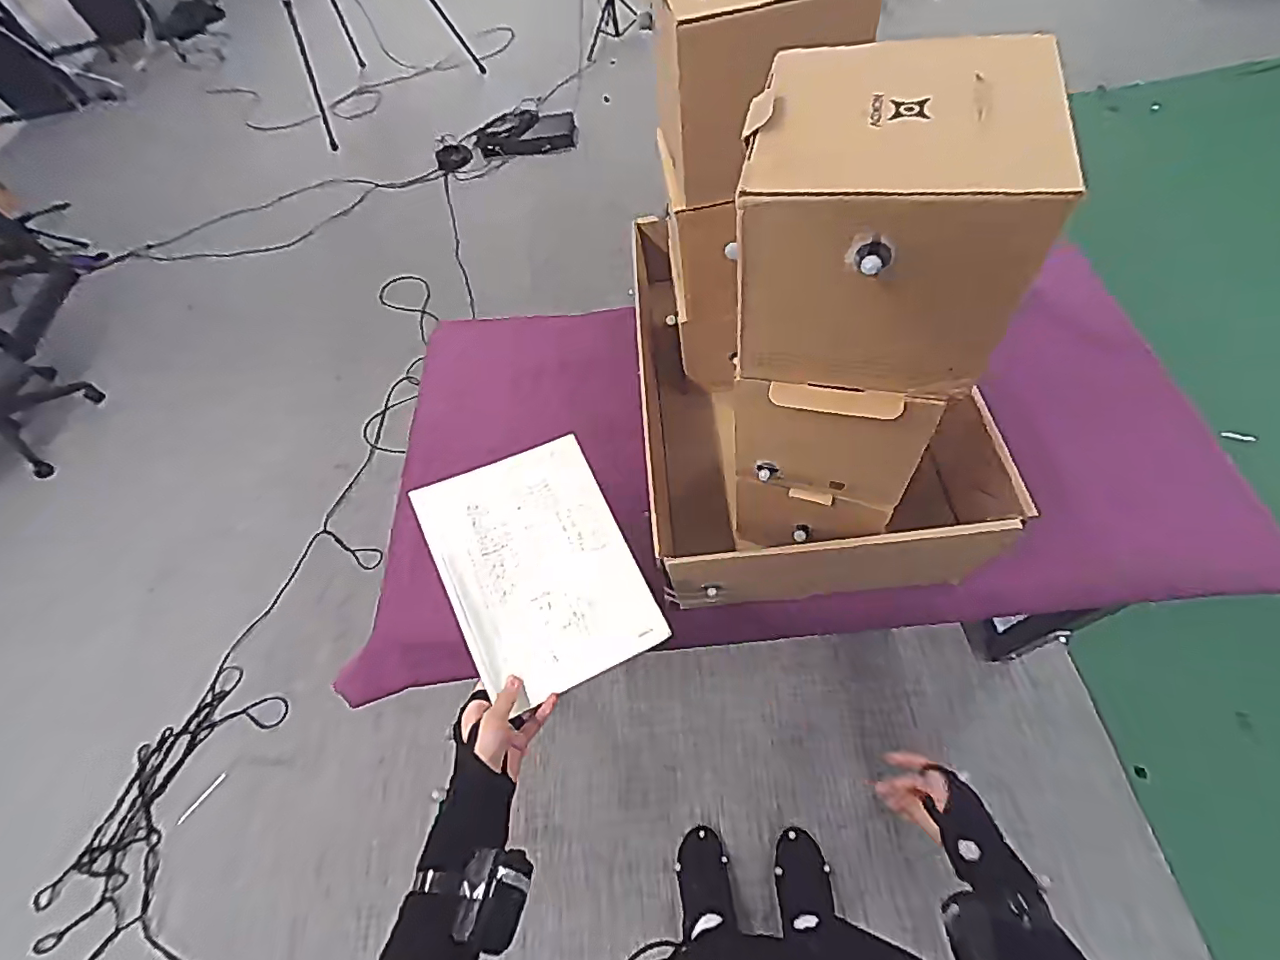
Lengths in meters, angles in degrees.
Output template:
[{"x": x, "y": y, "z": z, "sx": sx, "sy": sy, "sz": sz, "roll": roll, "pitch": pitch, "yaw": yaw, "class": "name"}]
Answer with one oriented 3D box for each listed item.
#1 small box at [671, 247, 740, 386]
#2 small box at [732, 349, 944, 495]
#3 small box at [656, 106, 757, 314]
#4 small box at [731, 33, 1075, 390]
[{"x": 0.141, "y": -0.260, "z": 0.829, "sx": 0.168, "sy": 0.176, "sz": 0.179, "roll": -7, "pitch": 61, "yaw": 6, "class": "small box"}, {"x": 0.194, "y": -0.105, "z": 0.536, "sx": 0.168, "sy": 0.176, "sz": 0.179, "roll": 11, "pitch": 62, "yaw": 17, "class": "small box"}, {"x": 0.124, "y": -0.335, "z": 0.686, "sx": 0.179, "sy": 0.176, "sz": 0.168, "roll": -9, "pitch": 61, "yaw": 4, "class": "small box"}, {"x": 0.170, "y": -0.184, "z": 0.396, "sx": 0.179, "sy": 0.176, "sz": 0.168, "roll": 9, "pitch": 62, "yaw": 16, "class": "small box"}]
